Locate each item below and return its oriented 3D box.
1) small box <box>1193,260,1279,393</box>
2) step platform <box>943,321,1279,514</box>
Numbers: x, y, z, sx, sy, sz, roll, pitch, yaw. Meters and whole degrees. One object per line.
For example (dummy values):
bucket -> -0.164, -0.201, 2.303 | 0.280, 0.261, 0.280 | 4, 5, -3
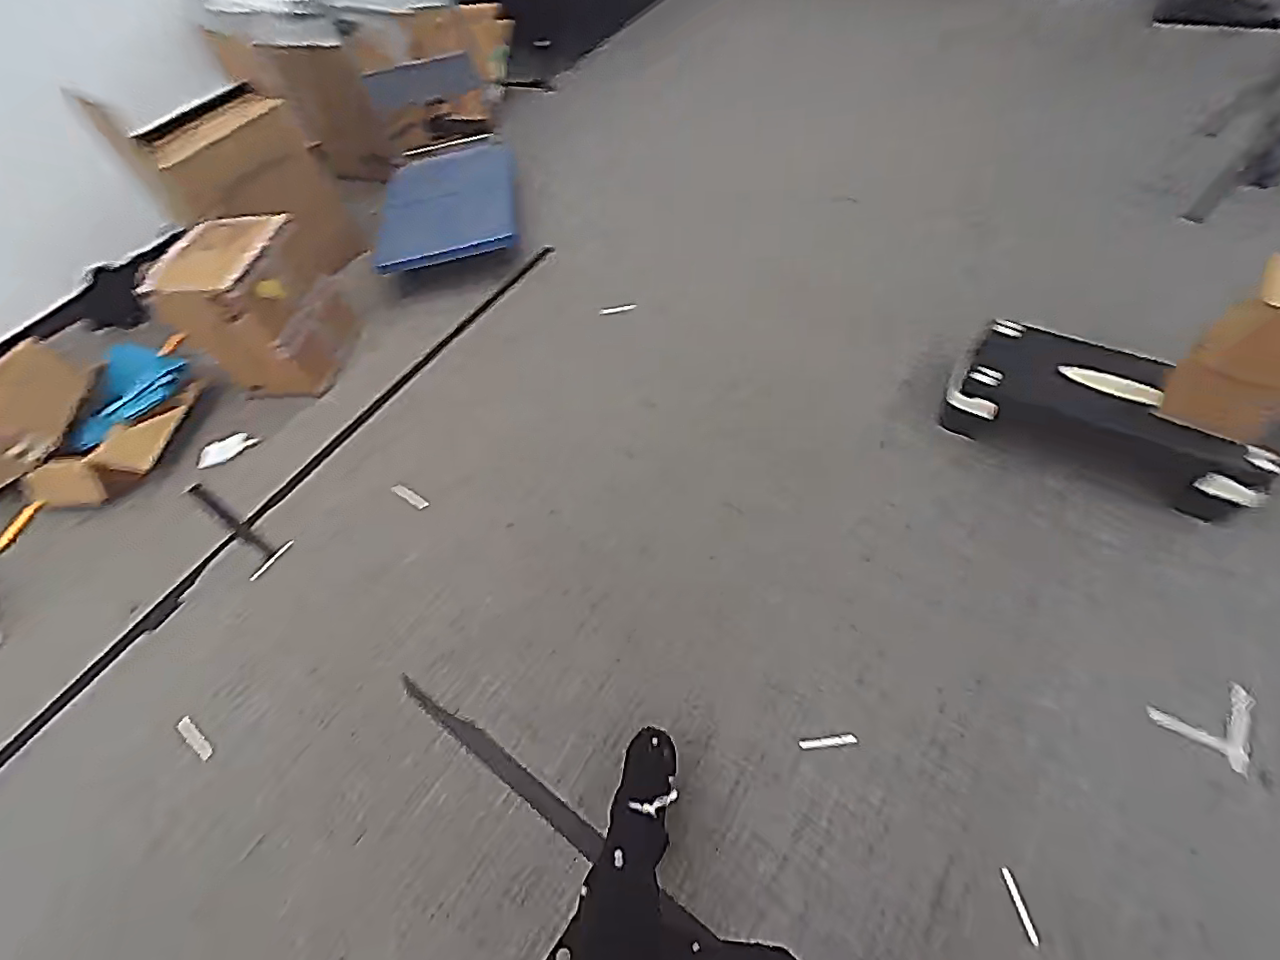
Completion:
small box -> 1.269, -0.301, 1.074 | 0.179, 0.176, 0.168 | 29, 66, 25
step platform -> 1.206, -0.190, 1.421 | 0.684, 0.204, 0.286 | 25, 63, 25
